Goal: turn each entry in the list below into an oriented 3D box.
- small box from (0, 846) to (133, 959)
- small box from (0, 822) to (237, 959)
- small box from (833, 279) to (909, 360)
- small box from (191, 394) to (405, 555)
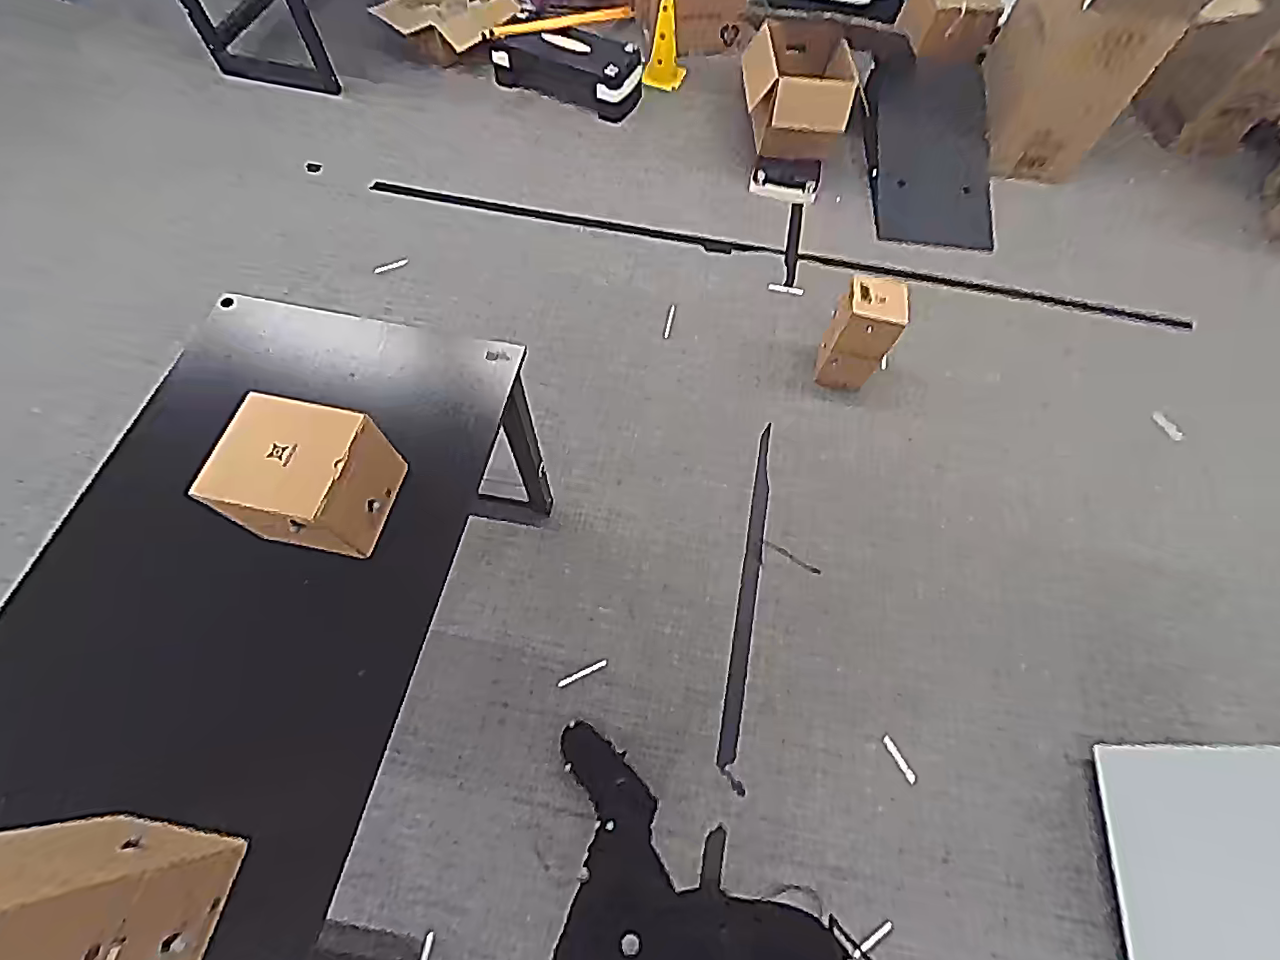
[{"bbox_3d":[-0.573,0.399,0.413,0.179,0.176,0.168,10,64,2],"label":"small box"},{"bbox_3d":[-0.578,0.472,0.561,0.179,0.176,0.168,10,64,1],"label":"small box"},{"bbox_3d":[0.733,-0.509,1.732,0.179,0.176,0.168,12,64,1],"label":"small box"},{"bbox_3d":[-0.483,0.000,0.798,0.179,0.176,0.168,11,64,2],"label":"small box"}]
